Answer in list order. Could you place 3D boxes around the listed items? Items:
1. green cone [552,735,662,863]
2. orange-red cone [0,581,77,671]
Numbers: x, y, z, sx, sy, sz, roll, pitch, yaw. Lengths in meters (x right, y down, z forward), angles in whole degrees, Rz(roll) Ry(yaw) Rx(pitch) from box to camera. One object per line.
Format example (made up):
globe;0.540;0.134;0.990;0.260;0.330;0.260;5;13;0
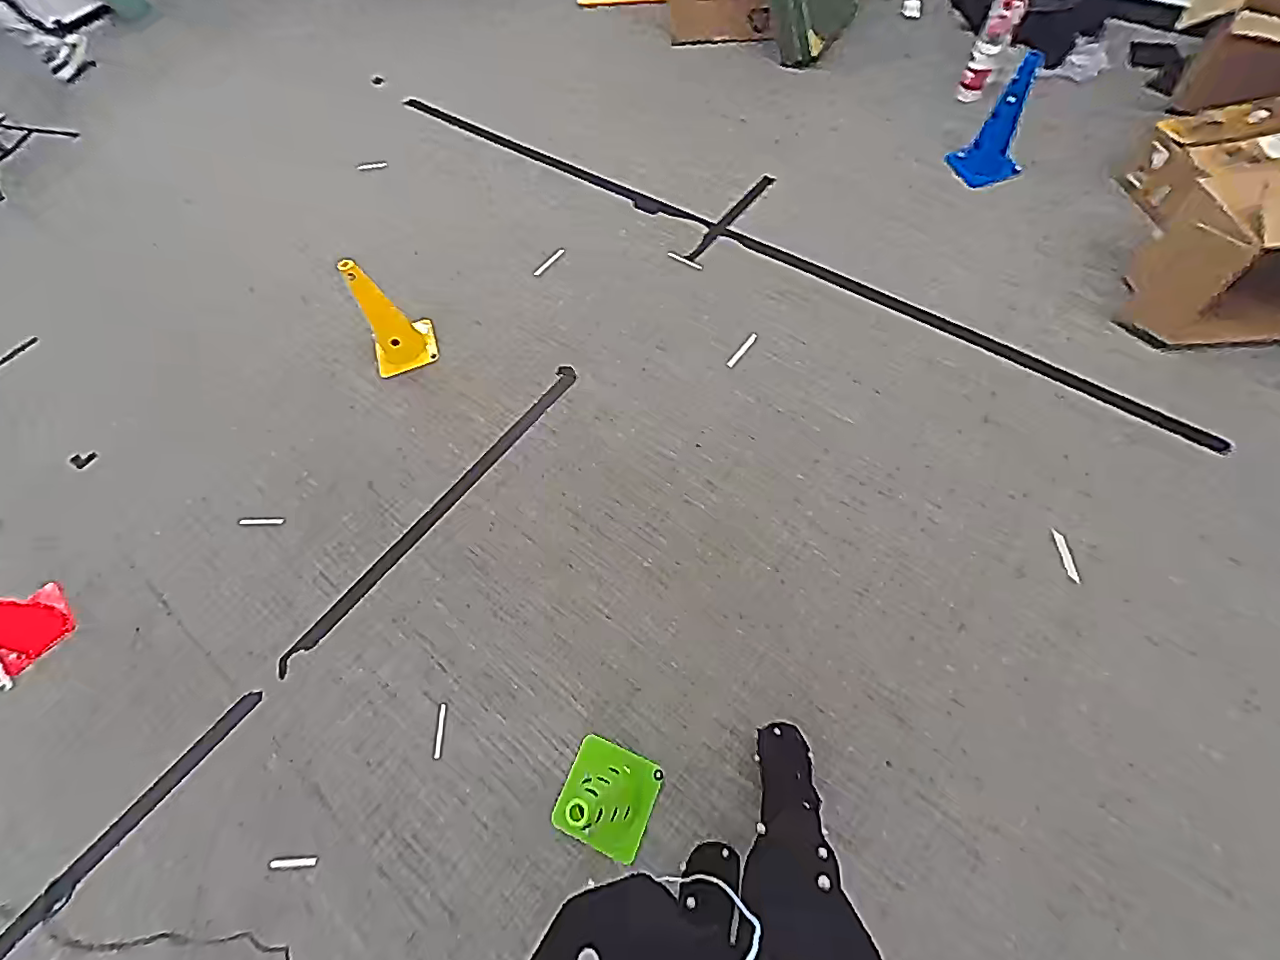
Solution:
green cone;-0.093;0.621;1.038;0.200;0.368;0.202;18;68;16
orange-red cone;-1.722;0.330;1.375;0.199;0.360;0.198;-42;67;-15
